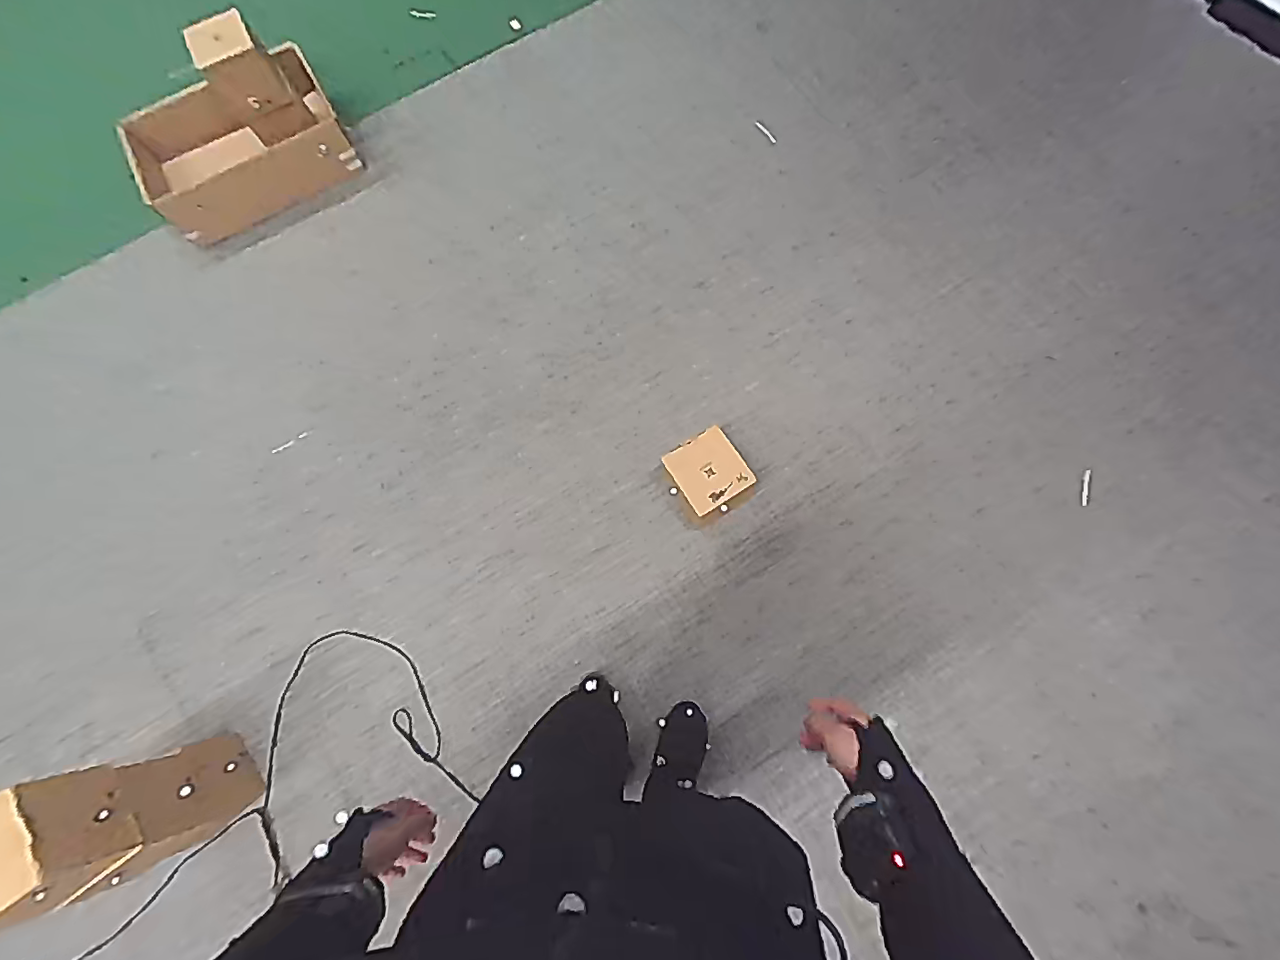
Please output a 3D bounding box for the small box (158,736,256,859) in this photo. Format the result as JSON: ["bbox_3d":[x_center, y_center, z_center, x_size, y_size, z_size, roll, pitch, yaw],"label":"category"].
[{"bbox_3d":[-1.018,0.711,1.223,0.179,0.176,0.168,-40,74,-8],"label":"small box"}]

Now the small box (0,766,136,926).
[{"bbox_3d":[-1.026,0.620,0.910,0.179,0.176,0.168,-37,74,-8],"label":"small box"}]

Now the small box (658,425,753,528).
[{"bbox_3d":[0.159,-0.002,1.361,0.168,0.176,0.179,-31,73,-6],"label":"small box"}]

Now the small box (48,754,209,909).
[{"bbox_3d":[-1.015,0.674,1.063,0.179,0.176,0.168,-36,75,-8],"label":"small box"}]

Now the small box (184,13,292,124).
[{"bbox_3d":[-1.176,-1.205,1.592,0.168,0.176,0.179,-29,75,-4],"label":"small box"}]
